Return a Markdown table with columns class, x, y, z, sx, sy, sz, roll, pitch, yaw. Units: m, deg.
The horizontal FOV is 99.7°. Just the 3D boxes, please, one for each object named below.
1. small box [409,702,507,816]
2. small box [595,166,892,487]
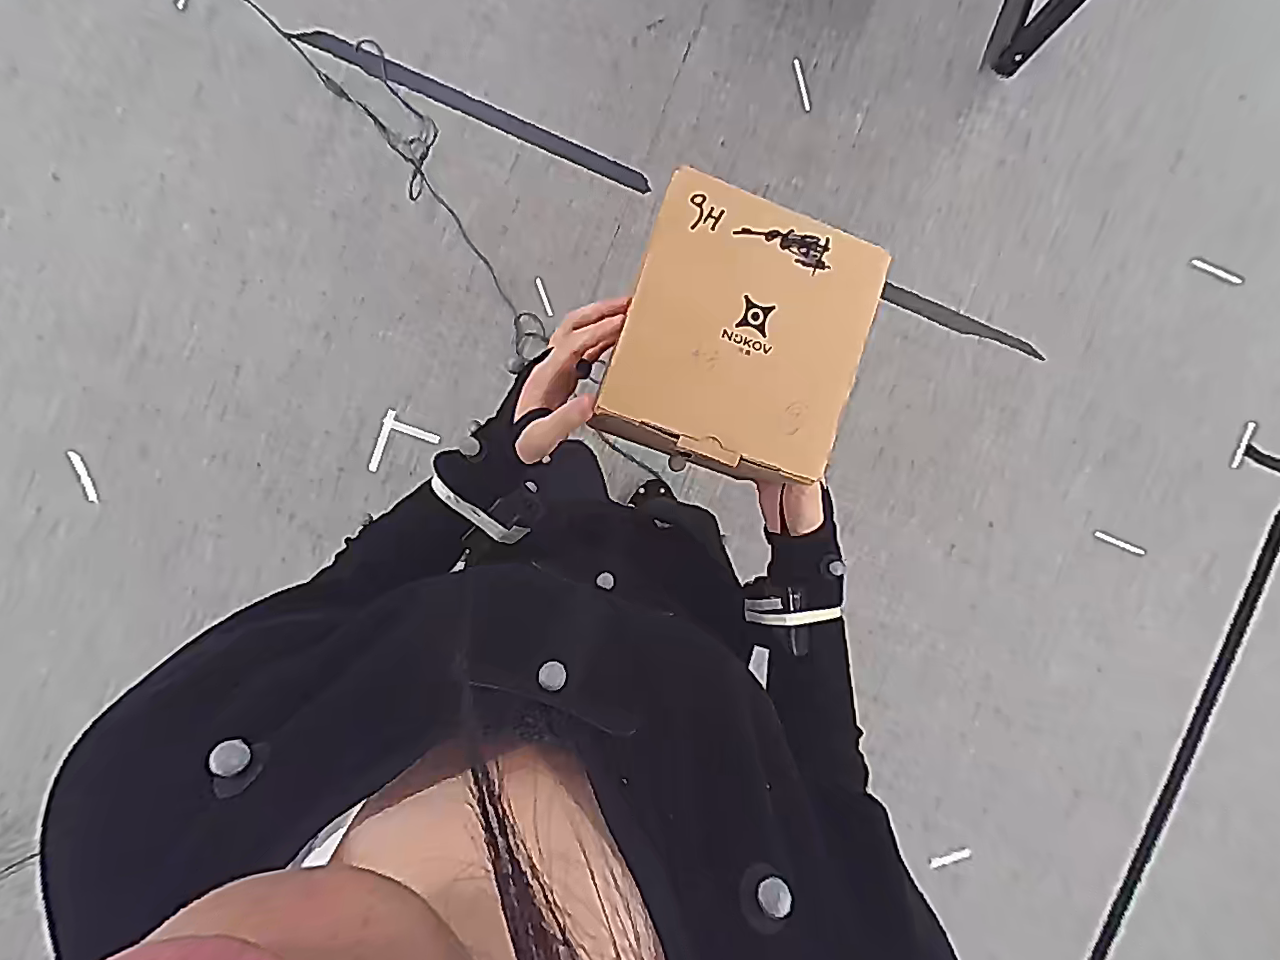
| class | x | y | z | sx | sy | sz | roll | pitch | yaw |
| --- | --- | --- | --- | --- | --- | --- | --- | --- | --- |
| small box | -0.463 | 0.719 | 1.410 | 0.168 | 0.176 | 0.179 | 25 | 90 | -3 |
| small box | 0.065 | -0.105 | 0.447 | 0.168 | 0.176 | 0.179 | 18 | 90 | -8 |
